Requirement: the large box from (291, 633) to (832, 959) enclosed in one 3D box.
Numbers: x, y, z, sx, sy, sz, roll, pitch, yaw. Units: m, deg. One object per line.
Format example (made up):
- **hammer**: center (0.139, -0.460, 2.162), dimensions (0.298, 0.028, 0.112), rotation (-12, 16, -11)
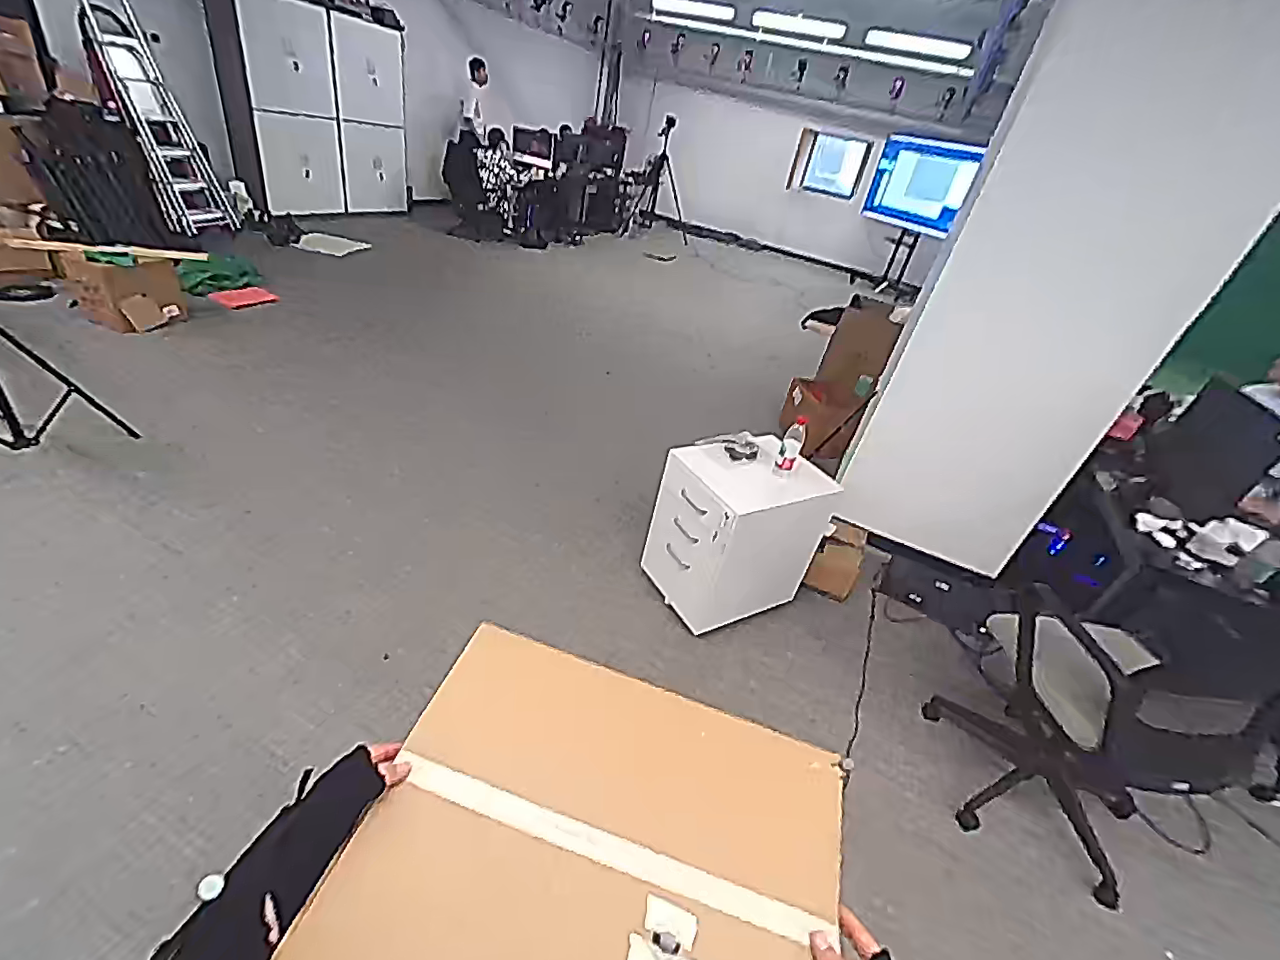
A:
- **large box**: center (-0.055, 0.430, 0.572), dimensions (0.408, 0.320, 0.320), rotation (19, 42, 6)
